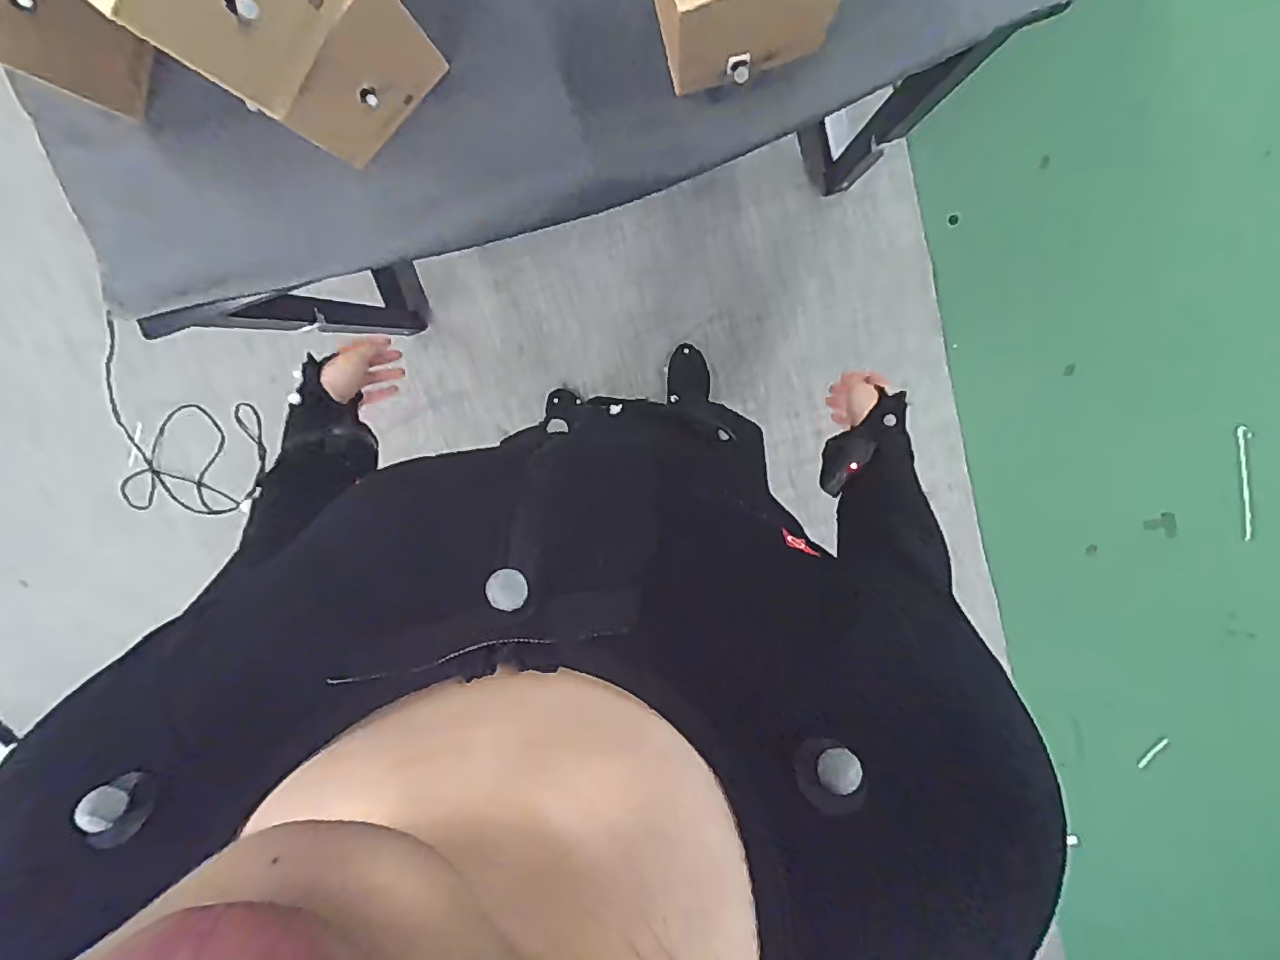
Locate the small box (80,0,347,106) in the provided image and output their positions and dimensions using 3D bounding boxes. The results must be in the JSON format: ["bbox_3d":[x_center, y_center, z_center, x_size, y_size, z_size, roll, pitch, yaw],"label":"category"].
[{"bbox_3d":[-0.358,-0.431,0.412,0.179,0.176,0.168,37,103,-5],"label":"small box"}]

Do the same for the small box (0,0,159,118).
[{"bbox_3d":[-0.669,-0.529,0.575,0.179,0.176,0.168,23,104,-3],"label":"small box"}]

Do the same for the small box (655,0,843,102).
[{"bbox_3d":[0.096,-0.522,0.530,0.168,0.176,0.179,-14,101,8],"label":"small box"}]

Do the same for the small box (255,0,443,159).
[{"bbox_3d":[-0.345,-0.476,0.568,0.168,0.176,0.179,-41,97,11],"label":"small box"}]
